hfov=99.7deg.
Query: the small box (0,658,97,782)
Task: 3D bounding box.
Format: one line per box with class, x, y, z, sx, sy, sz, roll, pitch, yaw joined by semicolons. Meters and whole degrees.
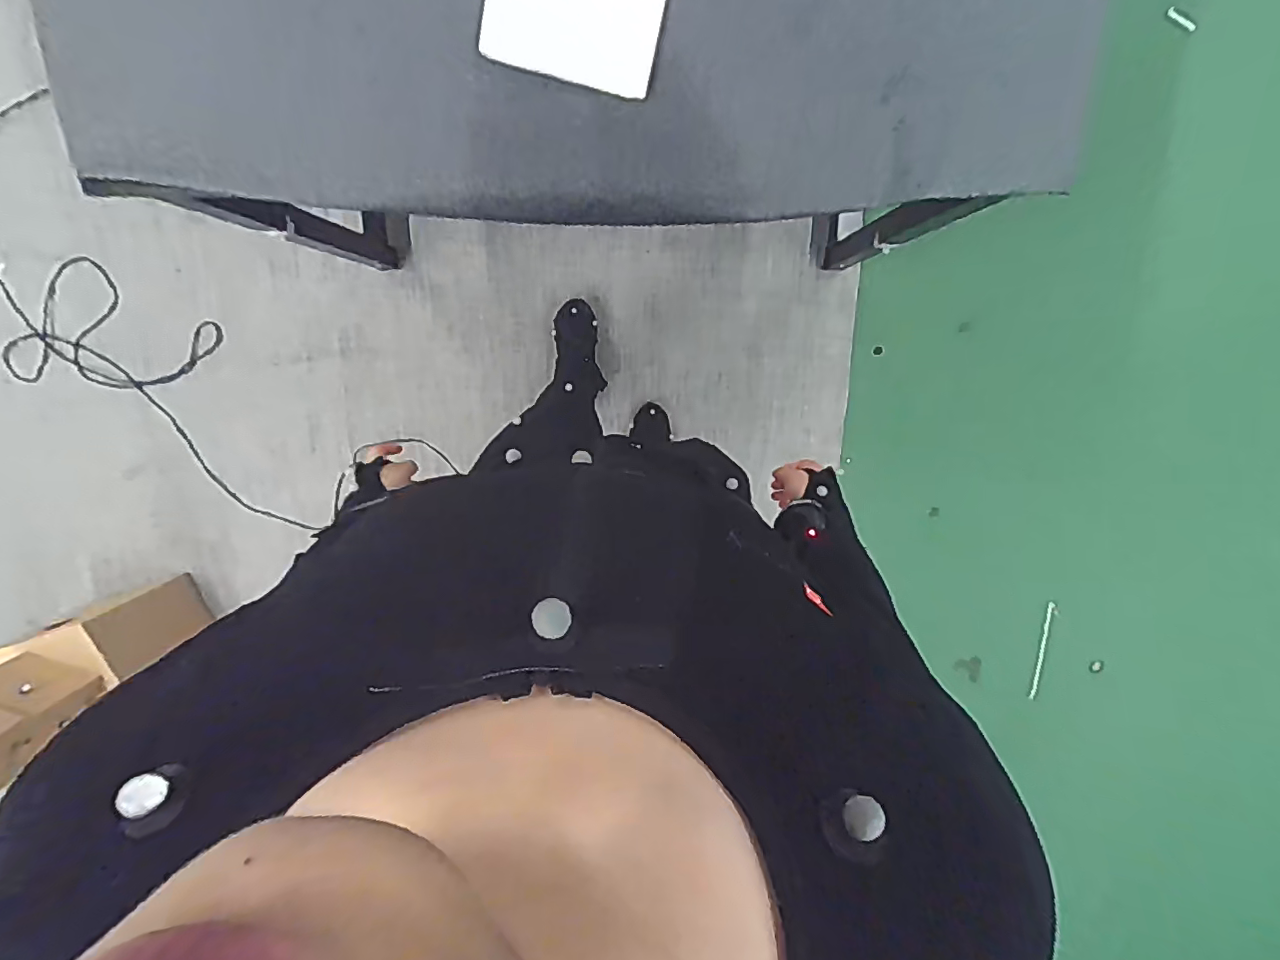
small box;-1.385;0.527;1.207;0.179;0.176;0.168;21;102;-7
